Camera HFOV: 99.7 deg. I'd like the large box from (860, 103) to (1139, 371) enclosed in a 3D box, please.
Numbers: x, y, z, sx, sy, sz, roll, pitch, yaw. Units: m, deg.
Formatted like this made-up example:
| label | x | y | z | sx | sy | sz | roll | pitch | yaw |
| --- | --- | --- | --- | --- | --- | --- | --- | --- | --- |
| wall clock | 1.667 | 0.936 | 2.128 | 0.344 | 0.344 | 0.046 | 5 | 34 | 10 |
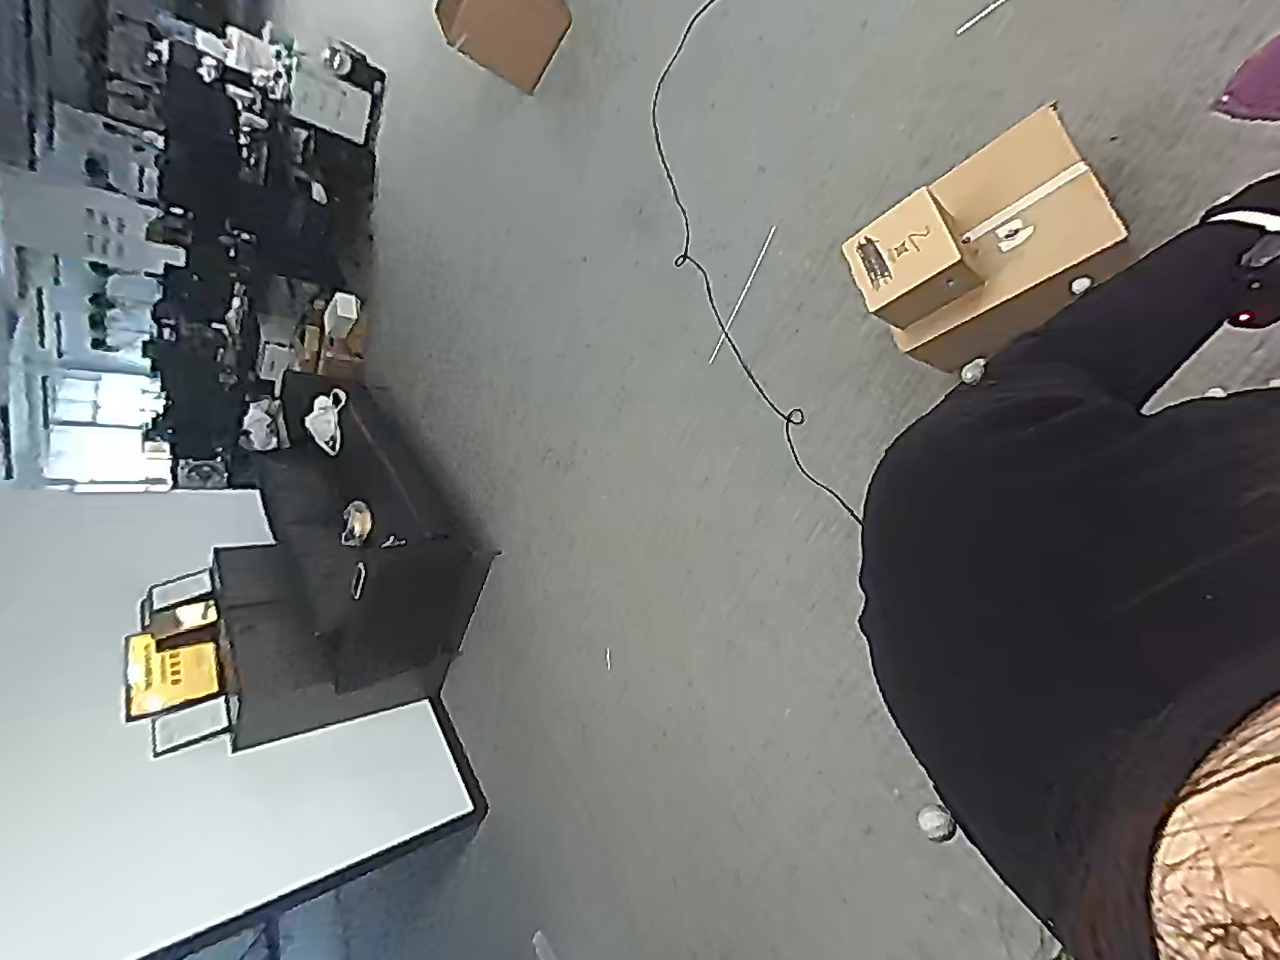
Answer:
| label | x | y | z | sx | sy | sz | roll | pitch | yaw |
| --- | --- | --- | --- | --- | --- | --- | --- | --- | --- |
| large box | 0.785 | -0.492 | 1.205 | 0.408 | 0.320 | 0.320 | -28 | 70 | 41 |
